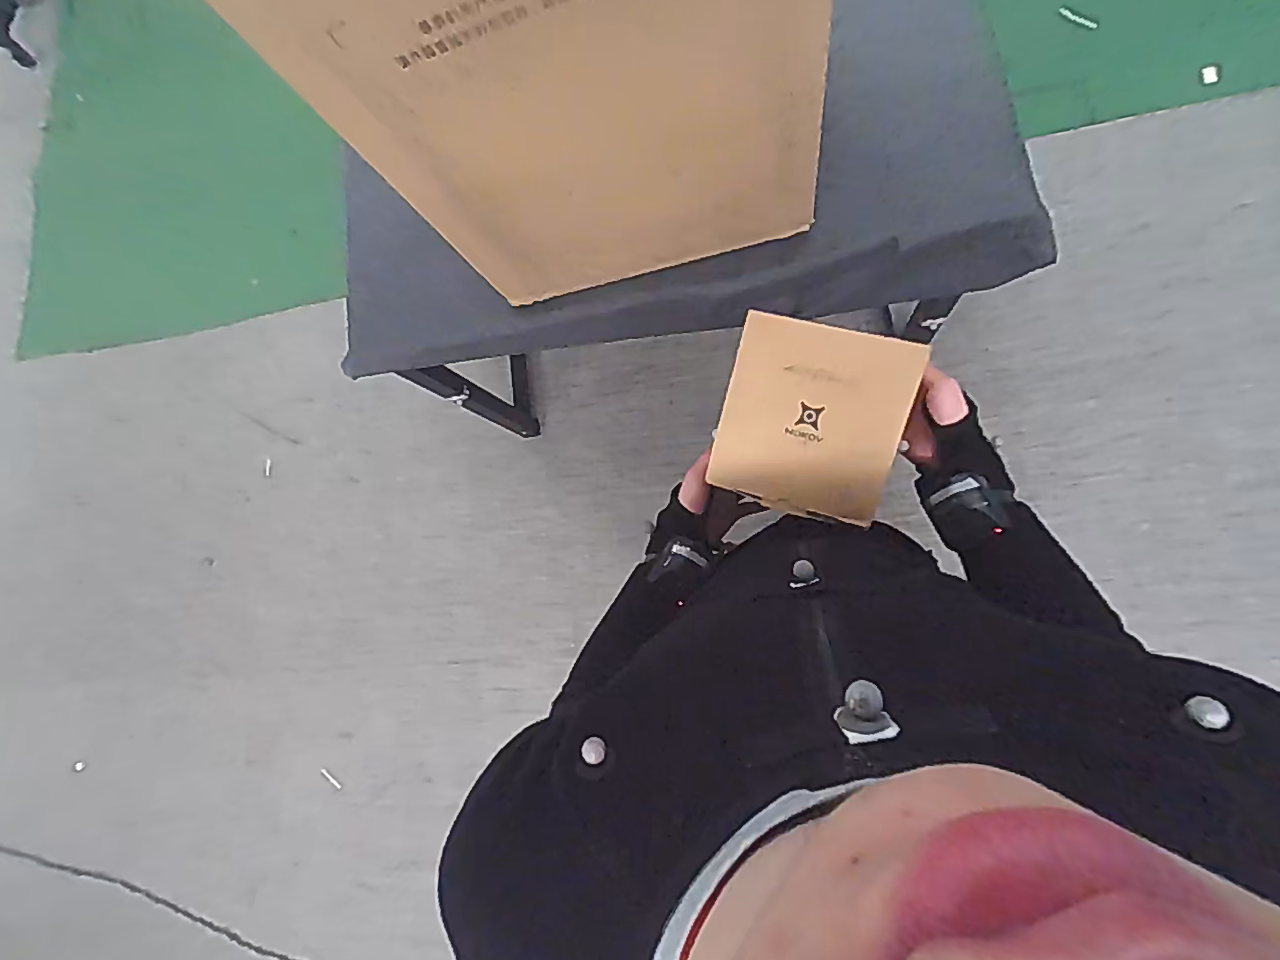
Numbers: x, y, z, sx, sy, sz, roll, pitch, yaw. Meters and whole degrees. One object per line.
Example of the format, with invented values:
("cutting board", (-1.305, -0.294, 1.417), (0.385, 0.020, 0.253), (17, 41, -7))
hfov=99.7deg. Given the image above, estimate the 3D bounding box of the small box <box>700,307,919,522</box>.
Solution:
("small box", (0.177, -0.075, 0.592), (0.168, 0.176, 0.179), (16, 103, 13))
